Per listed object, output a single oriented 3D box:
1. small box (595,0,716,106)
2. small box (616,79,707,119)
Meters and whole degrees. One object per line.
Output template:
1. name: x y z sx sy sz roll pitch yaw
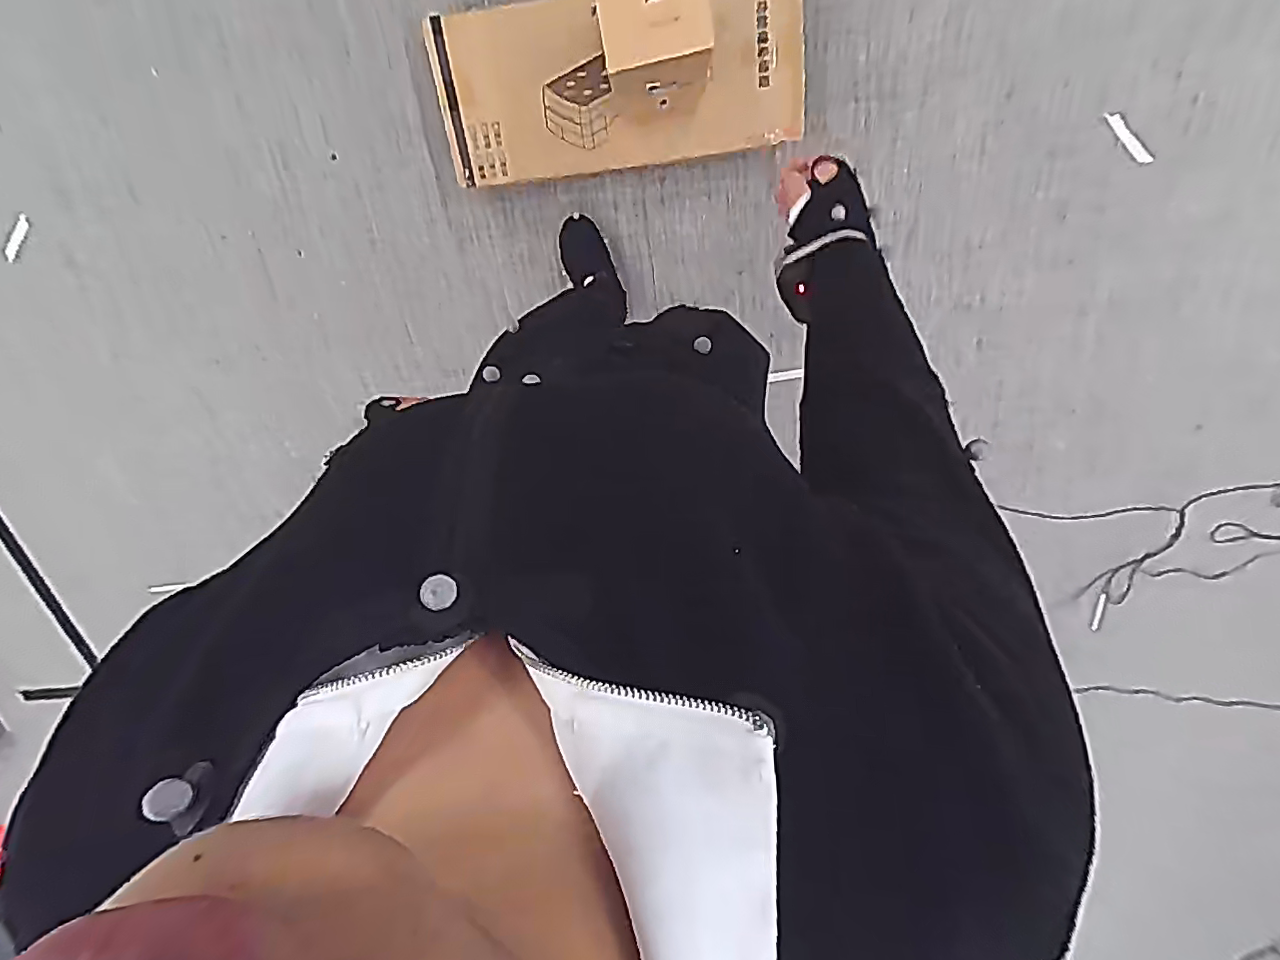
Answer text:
1. small box: 0.018 -0.728 0.852 0.168 0.176 0.179 -11 113 6
2. small box: 0.028 -0.793 1.002 0.168 0.176 0.179 -9 113 4
